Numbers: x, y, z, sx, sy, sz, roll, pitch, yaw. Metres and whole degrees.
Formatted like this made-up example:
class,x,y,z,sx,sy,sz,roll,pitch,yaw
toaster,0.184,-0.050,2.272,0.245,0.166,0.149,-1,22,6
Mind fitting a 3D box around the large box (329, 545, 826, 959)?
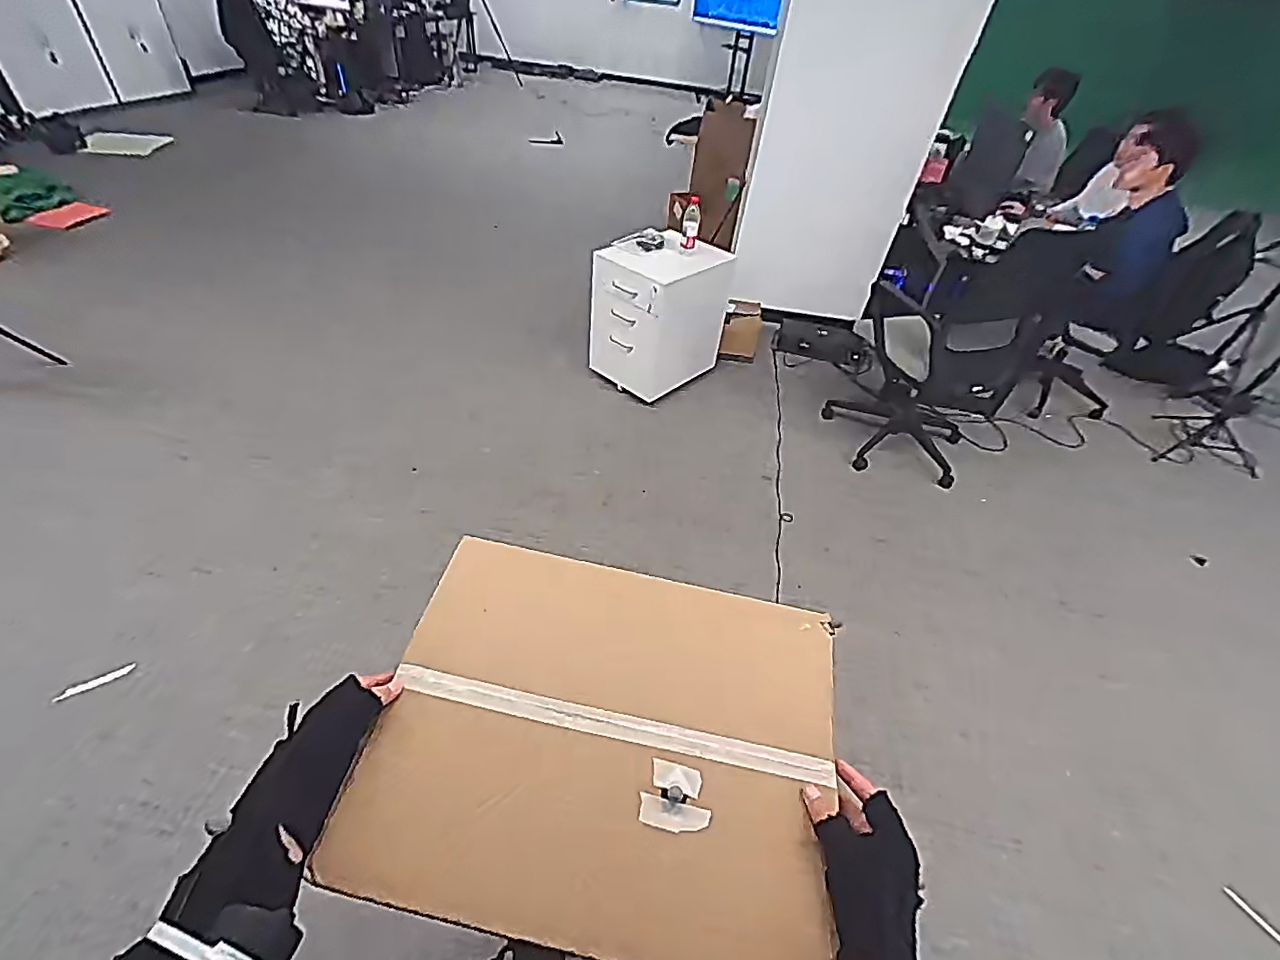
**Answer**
class,x,y,z,sx,sy,sz,roll,pitch,yaw
large box,-0.040,0.317,0.623,0.408,0.320,0.320,12,52,3
